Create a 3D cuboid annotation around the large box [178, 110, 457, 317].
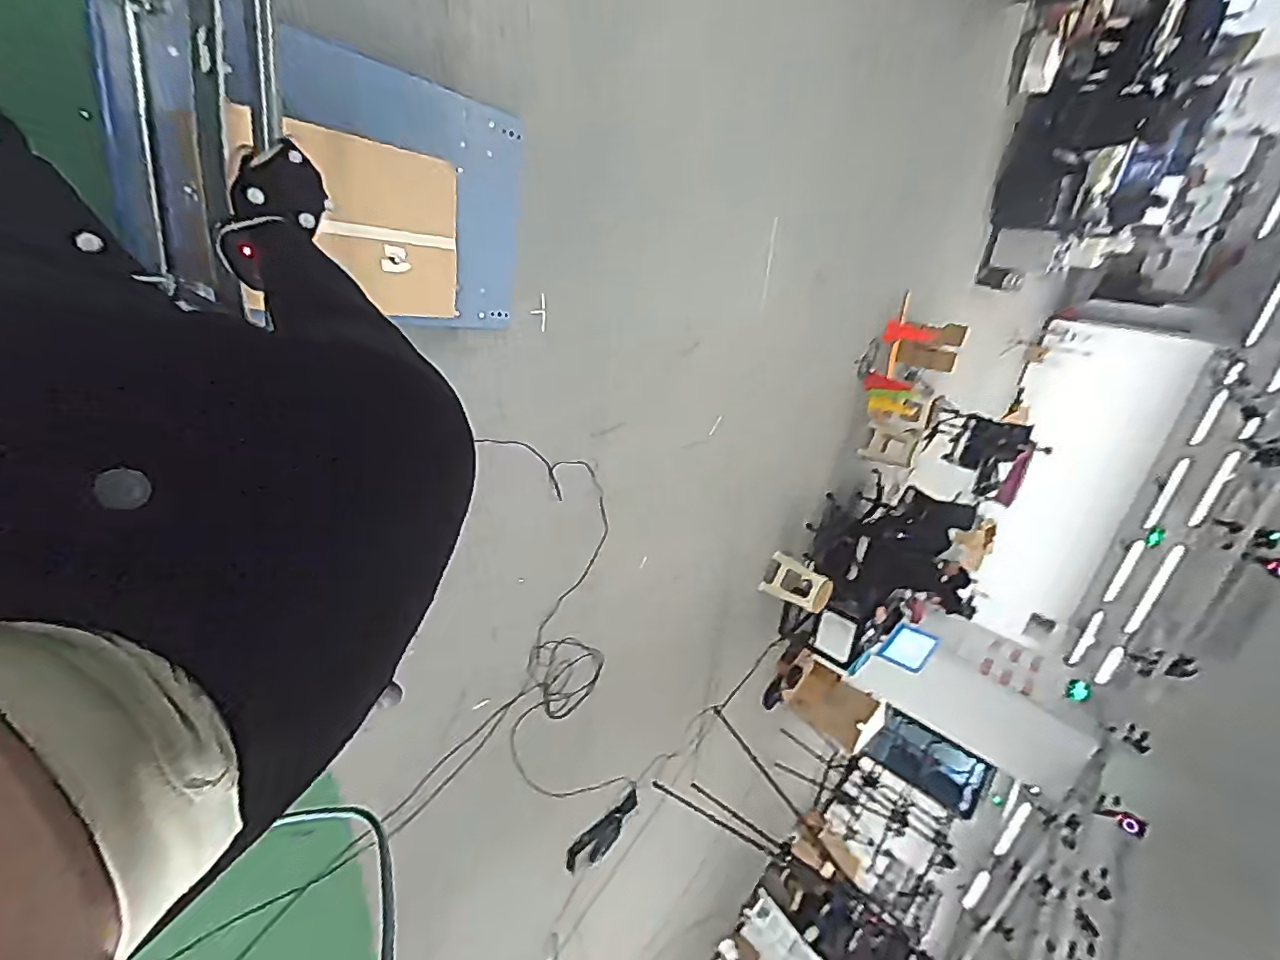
[{"bbox_3d":[-0.643,-0.521,1.118,0.408,0.320,0.320,-16,122,-47],"label":"large box"}]
